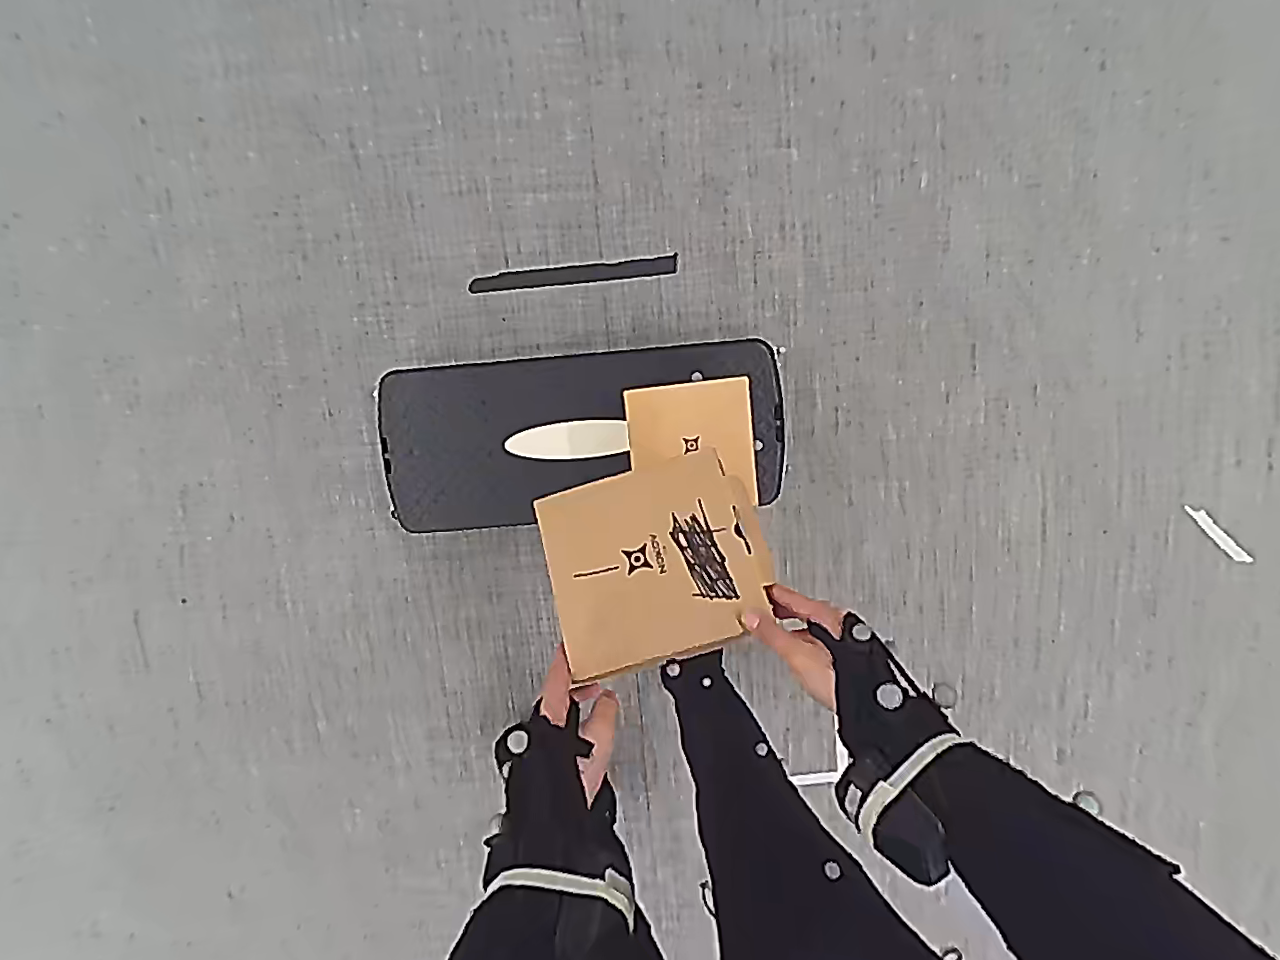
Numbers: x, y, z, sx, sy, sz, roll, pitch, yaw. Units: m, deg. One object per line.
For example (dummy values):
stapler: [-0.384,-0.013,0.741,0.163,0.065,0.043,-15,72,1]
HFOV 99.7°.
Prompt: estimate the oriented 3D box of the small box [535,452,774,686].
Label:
small box: [0.015,0.096,0.538,0.179,0.176,0.168,-17,69,2]

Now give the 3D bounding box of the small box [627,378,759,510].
small box: [0.071,-0.050,0.795,0.168,0.176,0.179,-6,98,2]
